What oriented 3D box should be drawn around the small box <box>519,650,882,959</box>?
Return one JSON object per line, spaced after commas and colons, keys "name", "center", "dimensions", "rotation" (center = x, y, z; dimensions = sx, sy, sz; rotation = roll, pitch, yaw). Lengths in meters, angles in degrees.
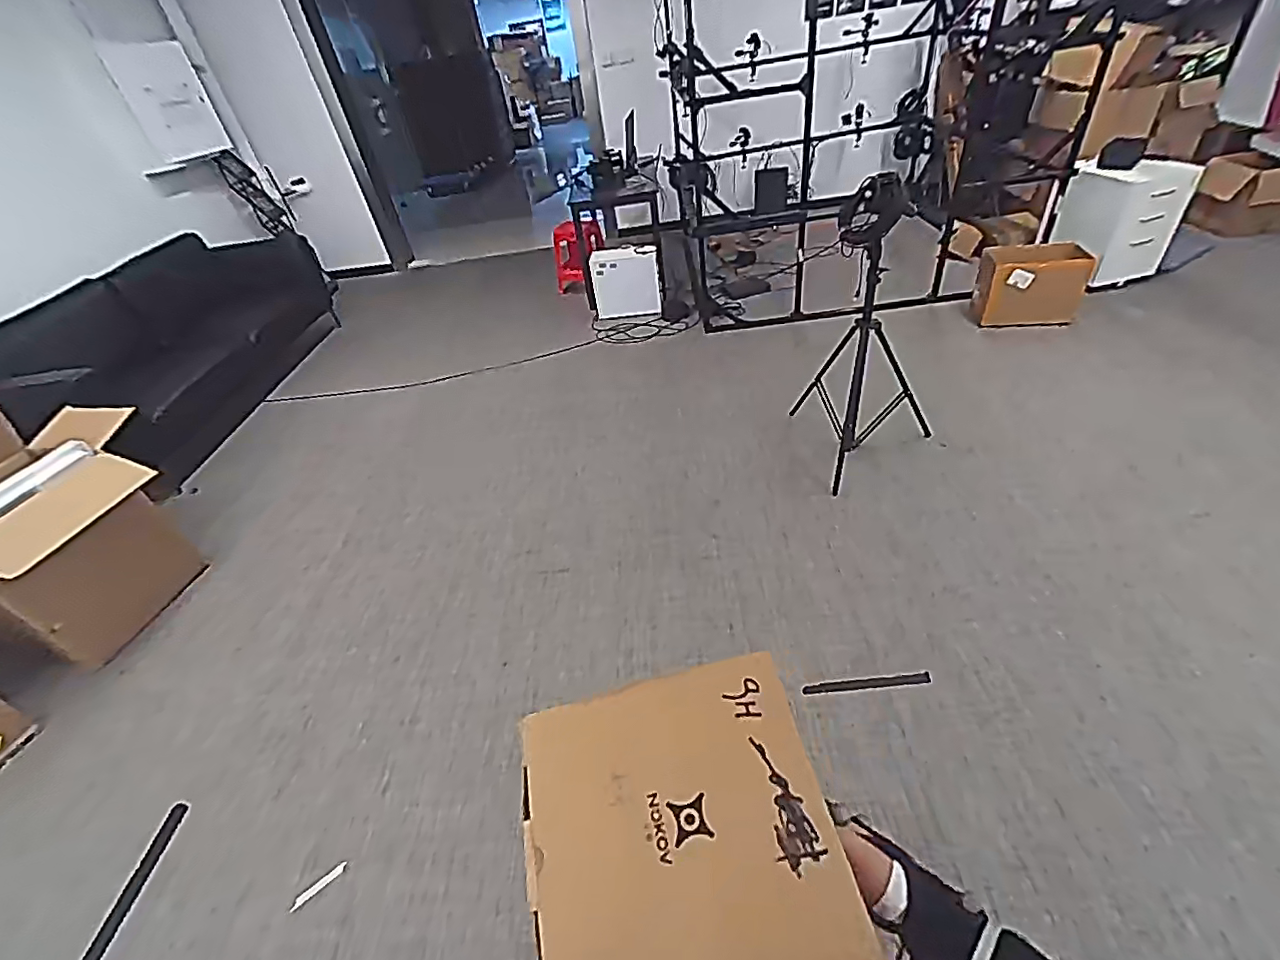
{"name": "small box", "center": [0.032, 0.243, 0.370], "dimensions": [0.179, 0.176, 0.168], "rotation": [-15, 52, -1]}
